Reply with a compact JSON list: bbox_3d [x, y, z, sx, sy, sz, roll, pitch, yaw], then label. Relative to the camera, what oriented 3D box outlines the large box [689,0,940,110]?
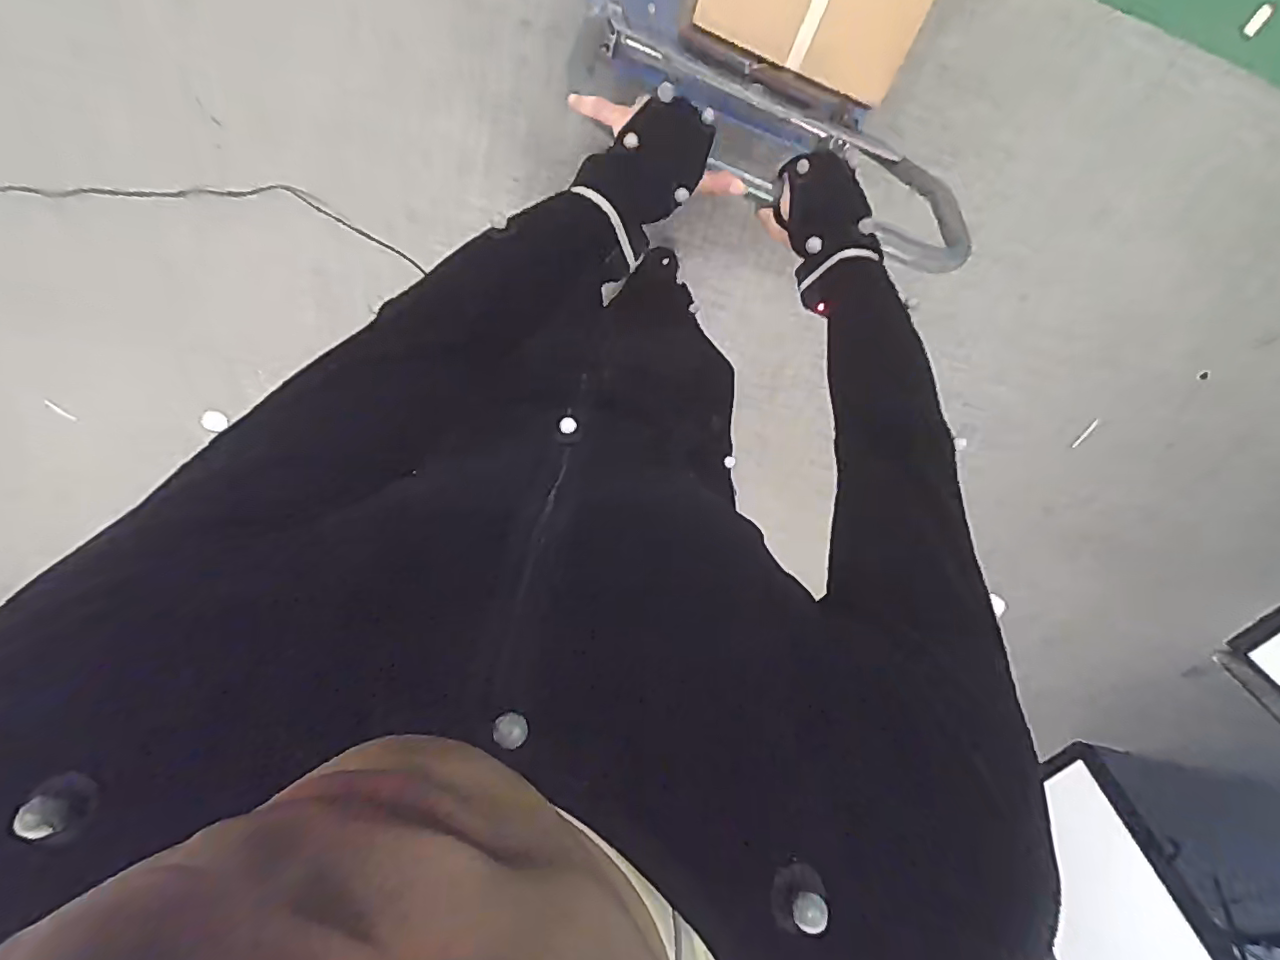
[{"bbox_3d":[0.290,-0.837,0.799,0.320,0.320,0.408,15,126,-13],"label":"large box"}]
